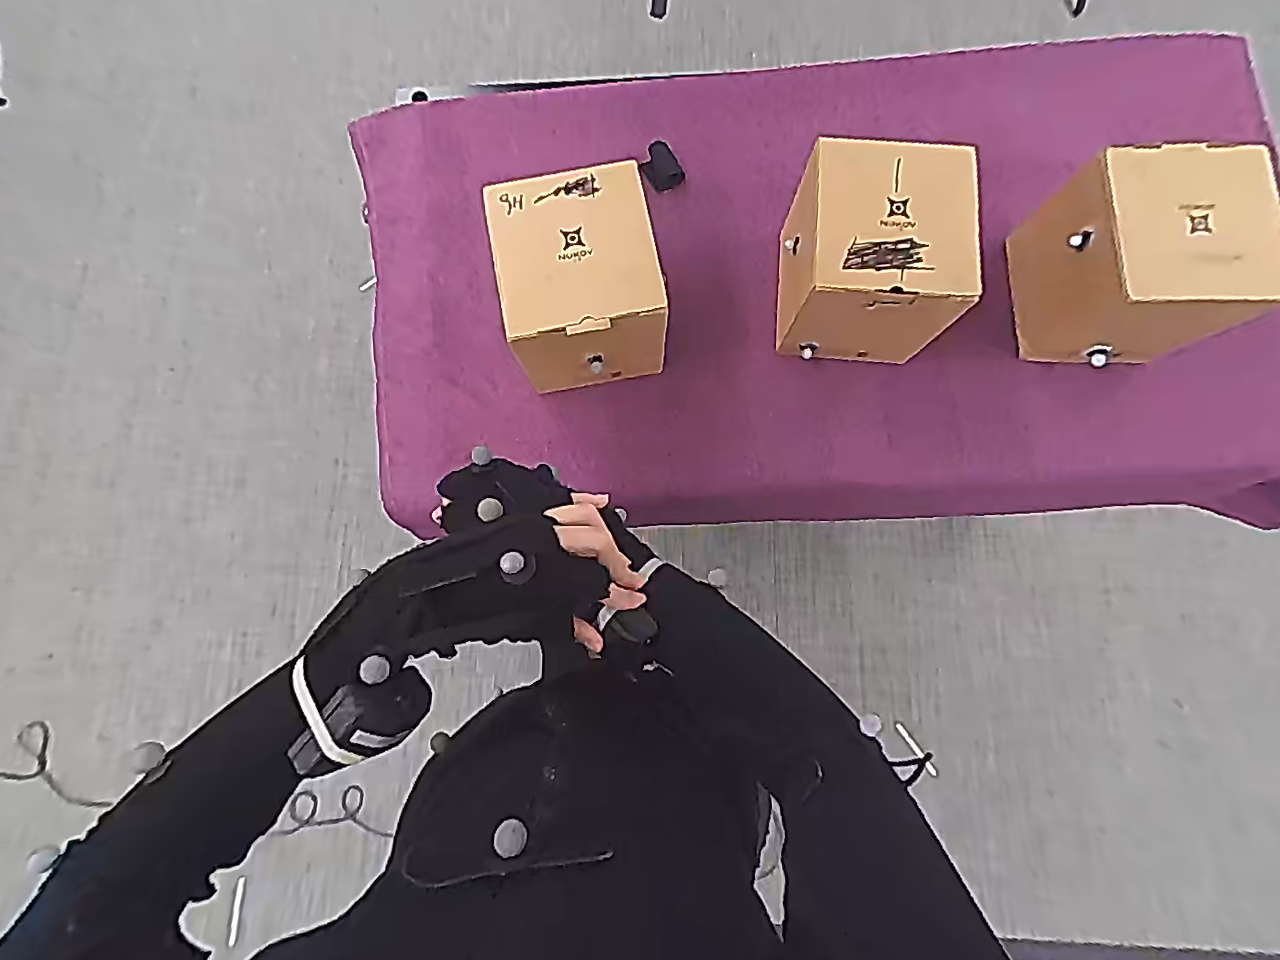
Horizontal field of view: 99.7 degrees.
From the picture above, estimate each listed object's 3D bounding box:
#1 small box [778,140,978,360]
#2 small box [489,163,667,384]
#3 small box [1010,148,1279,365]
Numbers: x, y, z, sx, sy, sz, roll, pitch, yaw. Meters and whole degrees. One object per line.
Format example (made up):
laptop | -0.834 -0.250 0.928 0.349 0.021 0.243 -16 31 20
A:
small box | 0.265 -0.256 0.635 0.168 0.176 0.179 5 79 2
small box | -0.063 -0.224 0.633 0.168 0.176 0.179 -11 80 -2
small box | 0.567 -0.248 0.631 0.168 0.176 0.179 0 80 2
